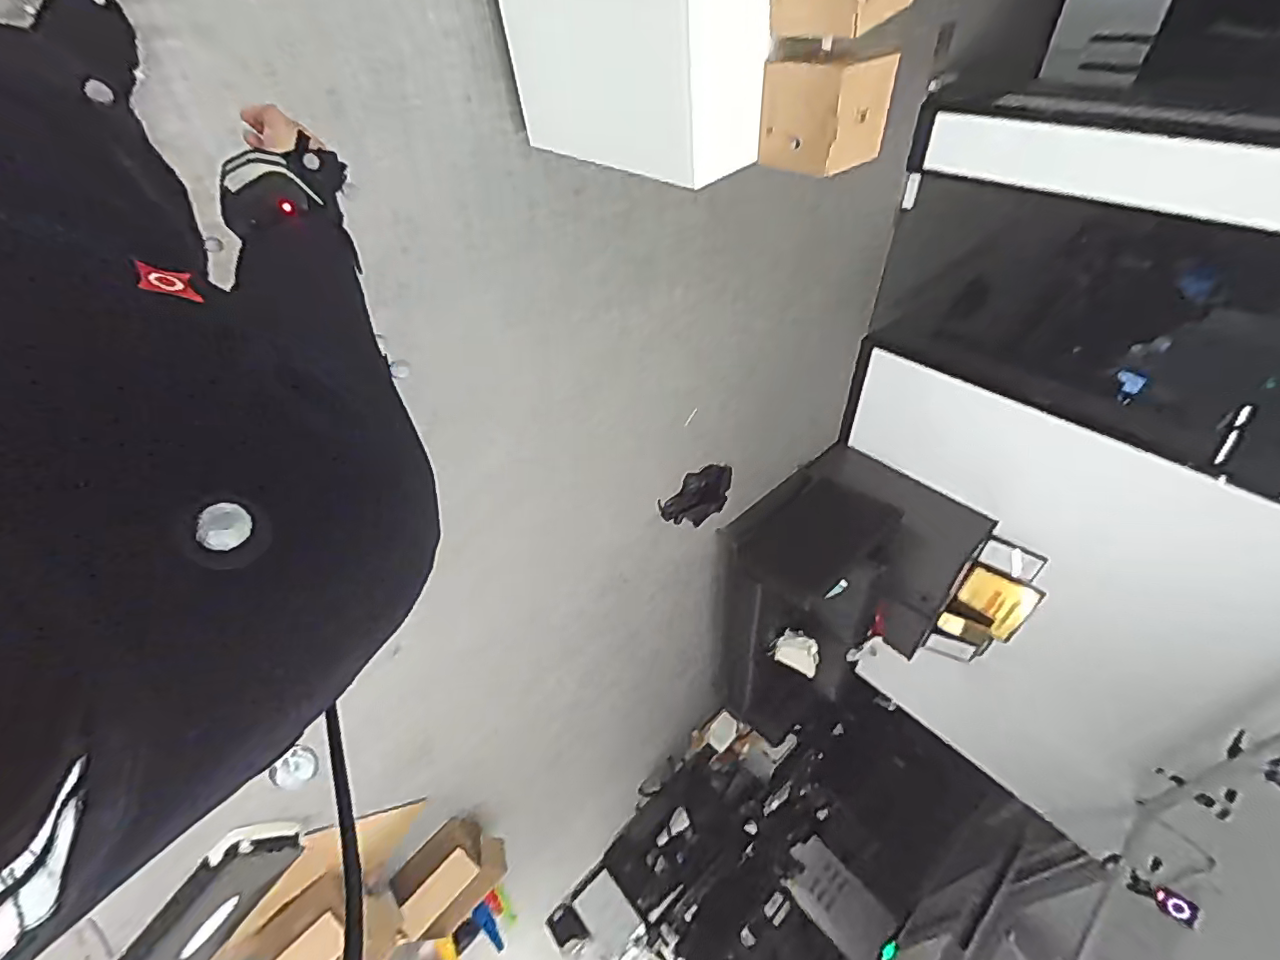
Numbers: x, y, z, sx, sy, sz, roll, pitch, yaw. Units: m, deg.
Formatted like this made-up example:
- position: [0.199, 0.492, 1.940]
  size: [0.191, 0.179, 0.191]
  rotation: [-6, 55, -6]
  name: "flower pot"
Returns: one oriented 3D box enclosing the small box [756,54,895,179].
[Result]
- position: [0.341, -0.691, 1.024]
  size: [0.179, 0.176, 0.168]
  rotation: [-34, 142, -27]
  name: "small box"
